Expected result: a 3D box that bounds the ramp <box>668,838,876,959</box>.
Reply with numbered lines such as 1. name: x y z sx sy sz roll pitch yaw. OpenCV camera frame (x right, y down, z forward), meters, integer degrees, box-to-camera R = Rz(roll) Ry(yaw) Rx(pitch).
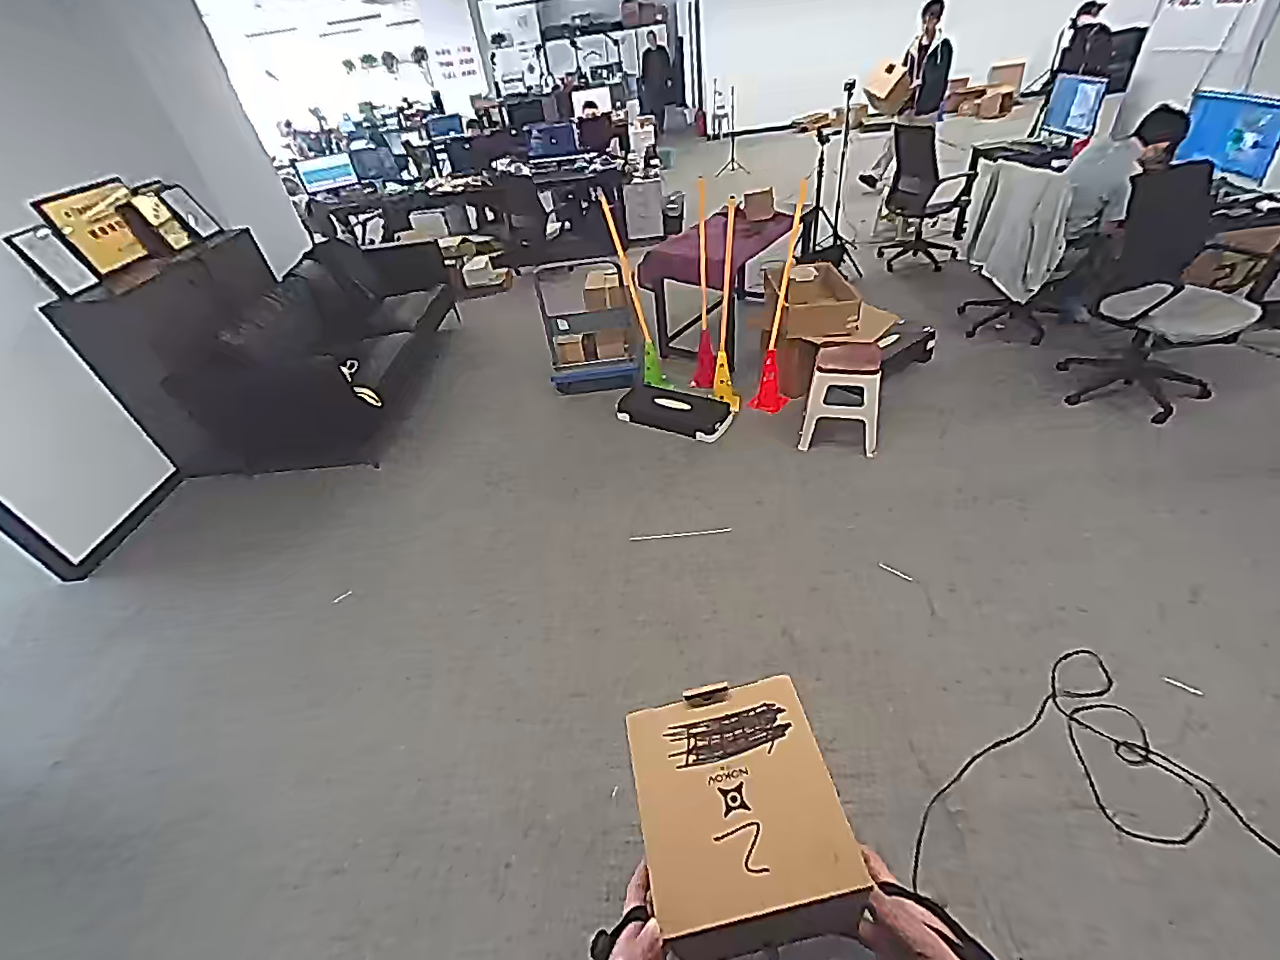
1. ramp: 0.312 1.268 1.090 0.509 0.206 0.991 -7 39 3
